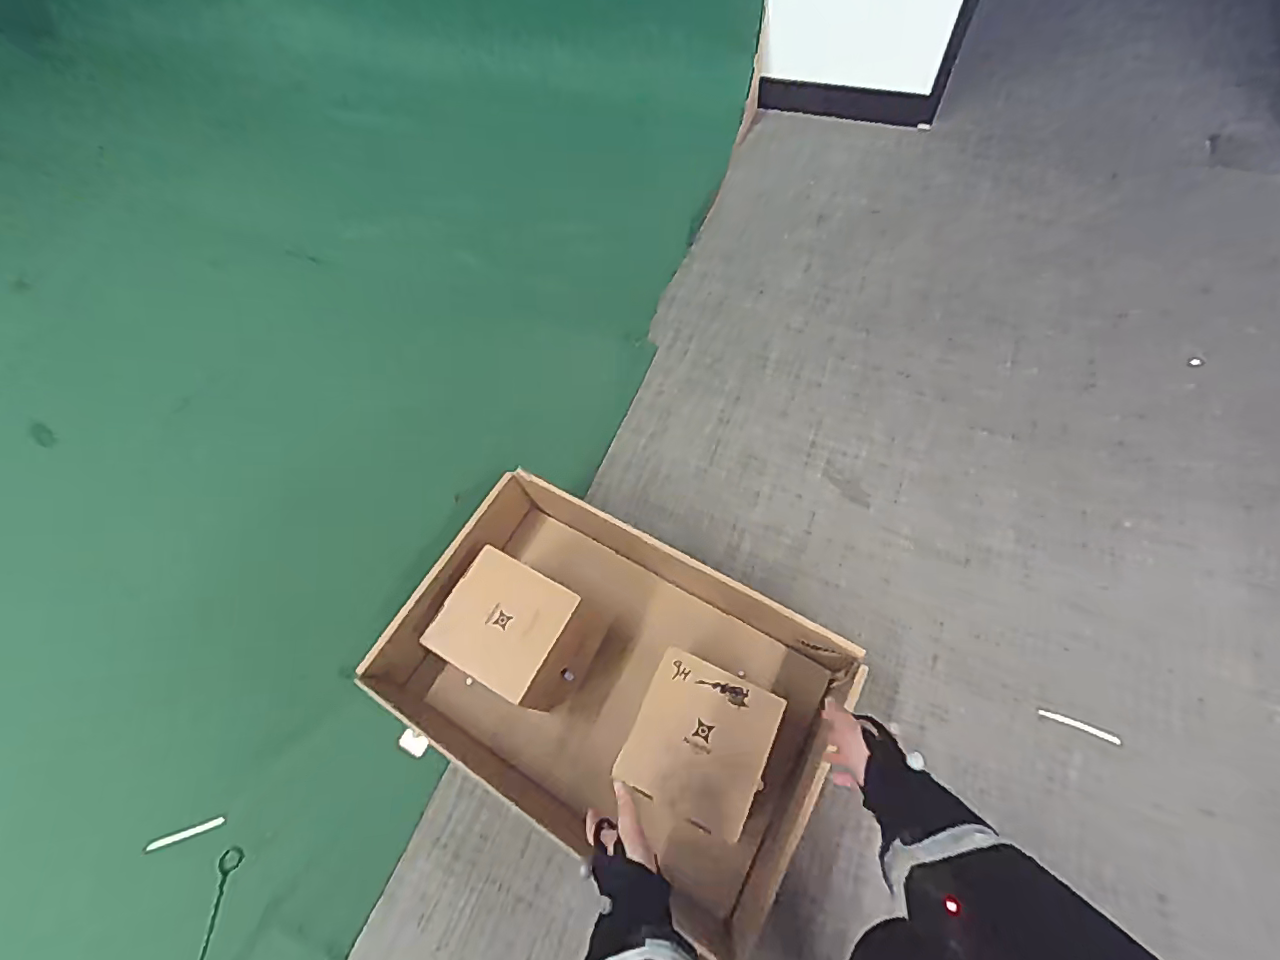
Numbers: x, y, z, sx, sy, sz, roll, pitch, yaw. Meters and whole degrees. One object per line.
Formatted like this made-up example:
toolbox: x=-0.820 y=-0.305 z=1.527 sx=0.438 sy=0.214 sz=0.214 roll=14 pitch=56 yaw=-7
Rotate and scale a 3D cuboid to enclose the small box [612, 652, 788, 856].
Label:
small box: x=0.084 y=0.362 z=0.733 sx=0.168 sy=0.176 sz=0.179 roll=22 pitch=68 yaw=16
